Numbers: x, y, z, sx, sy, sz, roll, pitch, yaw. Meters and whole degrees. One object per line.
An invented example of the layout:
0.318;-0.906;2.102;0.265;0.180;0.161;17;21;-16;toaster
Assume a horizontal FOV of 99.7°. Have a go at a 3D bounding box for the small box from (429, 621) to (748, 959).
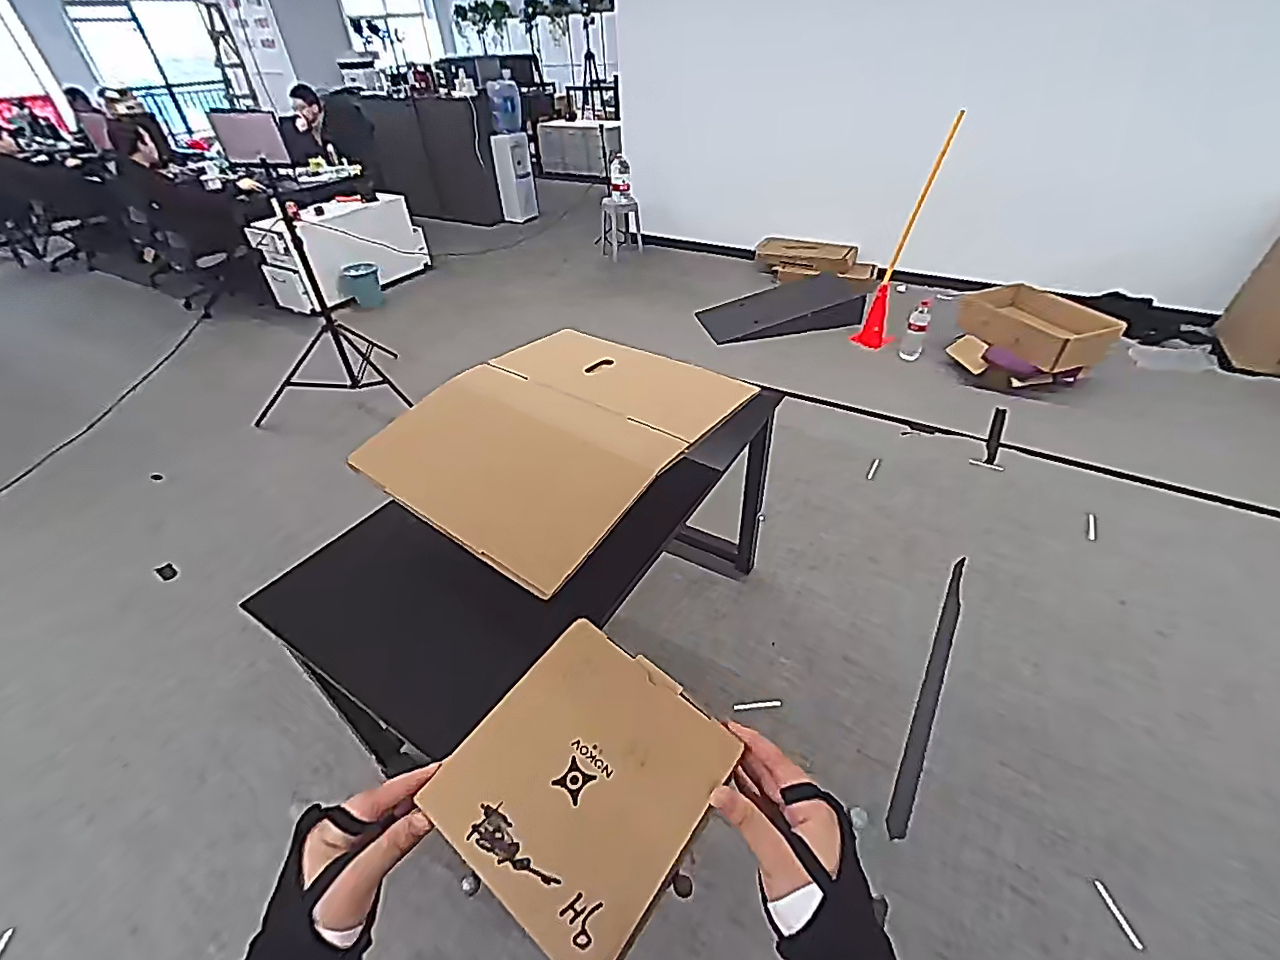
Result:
-0.035;0.260;0.449;0.168;0.176;0.179;30;55;25;small box
